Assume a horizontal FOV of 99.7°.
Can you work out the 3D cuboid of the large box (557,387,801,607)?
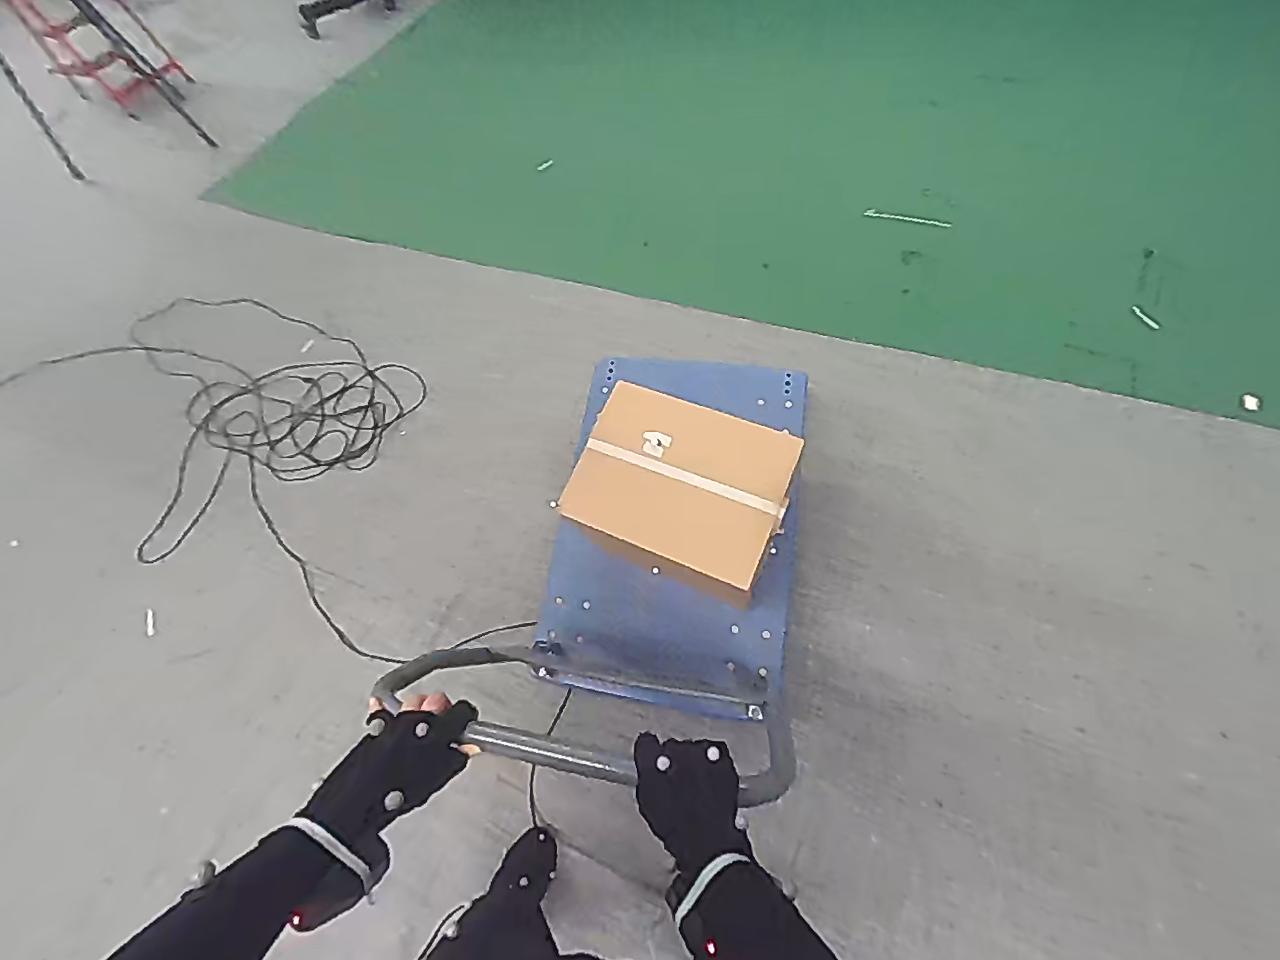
[{"bbox_3d":[0.100,0.050,1.186,0.408,0.320,0.320,21,75,17],"label":"large box"}]
